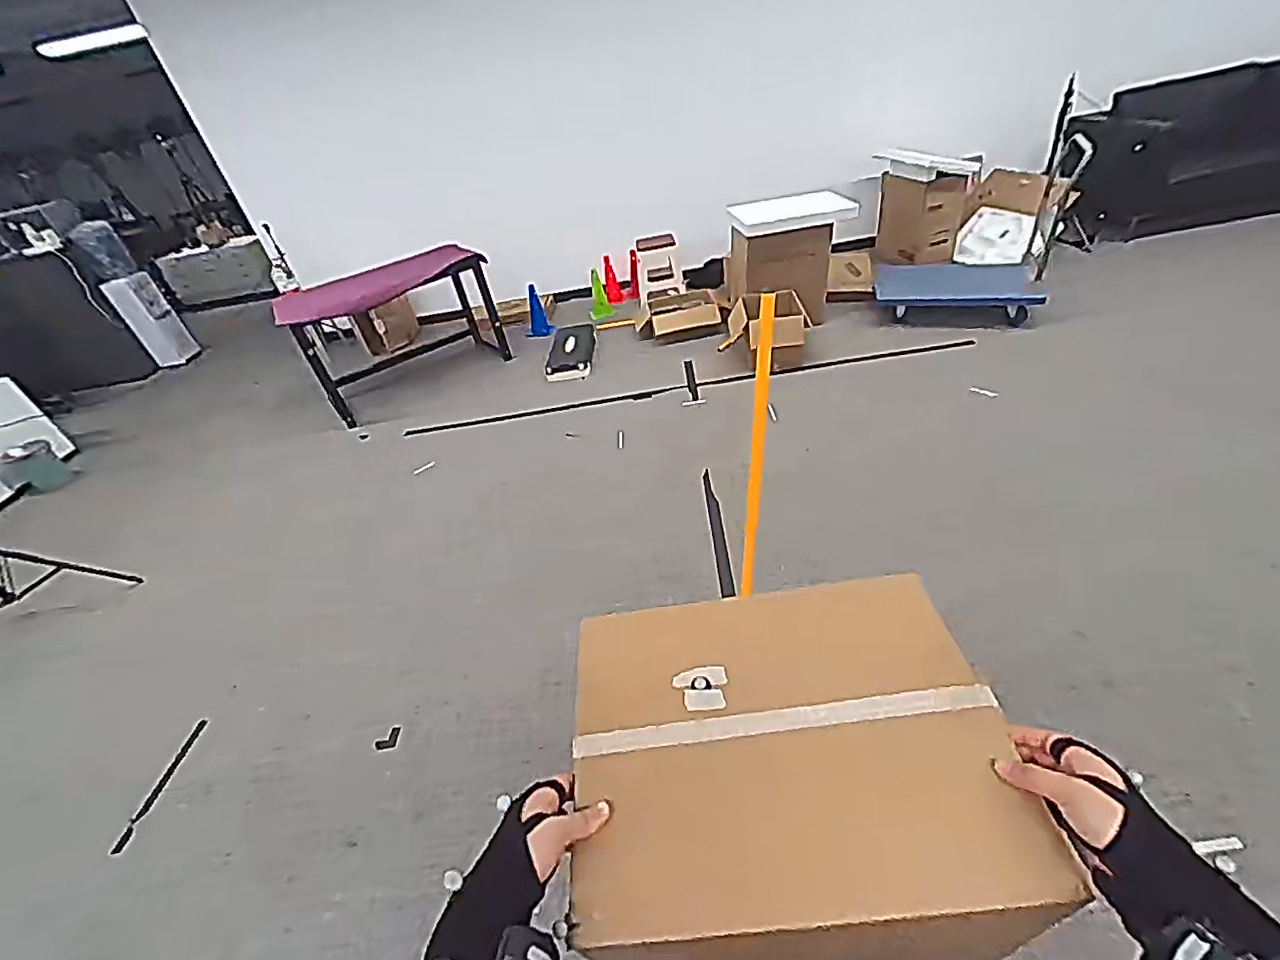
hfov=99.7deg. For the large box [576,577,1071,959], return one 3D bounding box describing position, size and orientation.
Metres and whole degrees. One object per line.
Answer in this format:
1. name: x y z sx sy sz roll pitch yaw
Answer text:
1. large box: 0.162 0.359 0.637 0.408 0.320 0.320 -11 39 5
